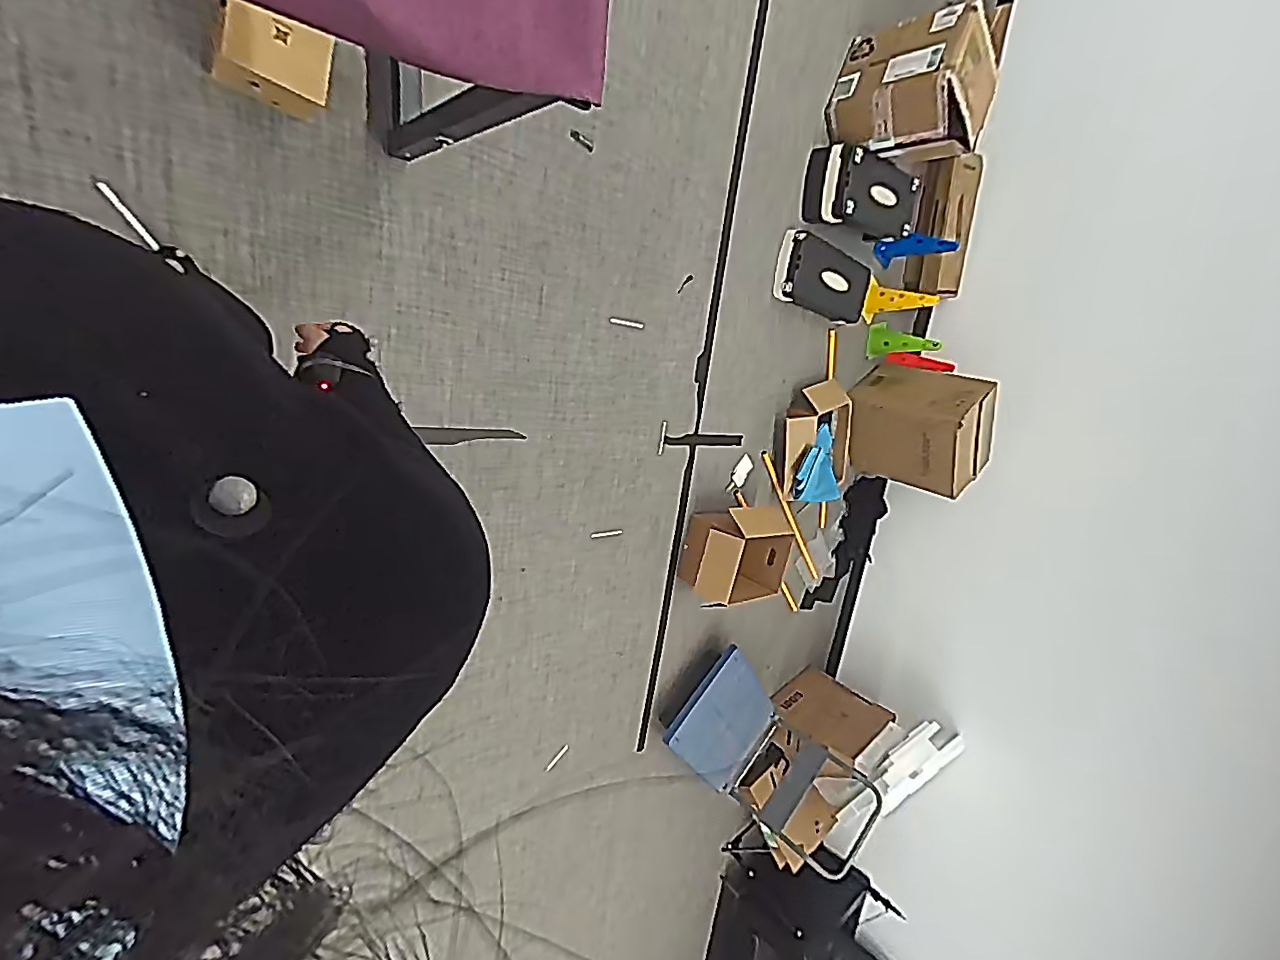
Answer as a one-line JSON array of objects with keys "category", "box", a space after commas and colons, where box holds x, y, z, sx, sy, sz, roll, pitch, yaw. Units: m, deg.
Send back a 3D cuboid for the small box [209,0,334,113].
[{"category": "small box", "box": [-0.714, -0.849, 1.042, 0.168, 0.176, 0.179, 6, 101, -45]}]
